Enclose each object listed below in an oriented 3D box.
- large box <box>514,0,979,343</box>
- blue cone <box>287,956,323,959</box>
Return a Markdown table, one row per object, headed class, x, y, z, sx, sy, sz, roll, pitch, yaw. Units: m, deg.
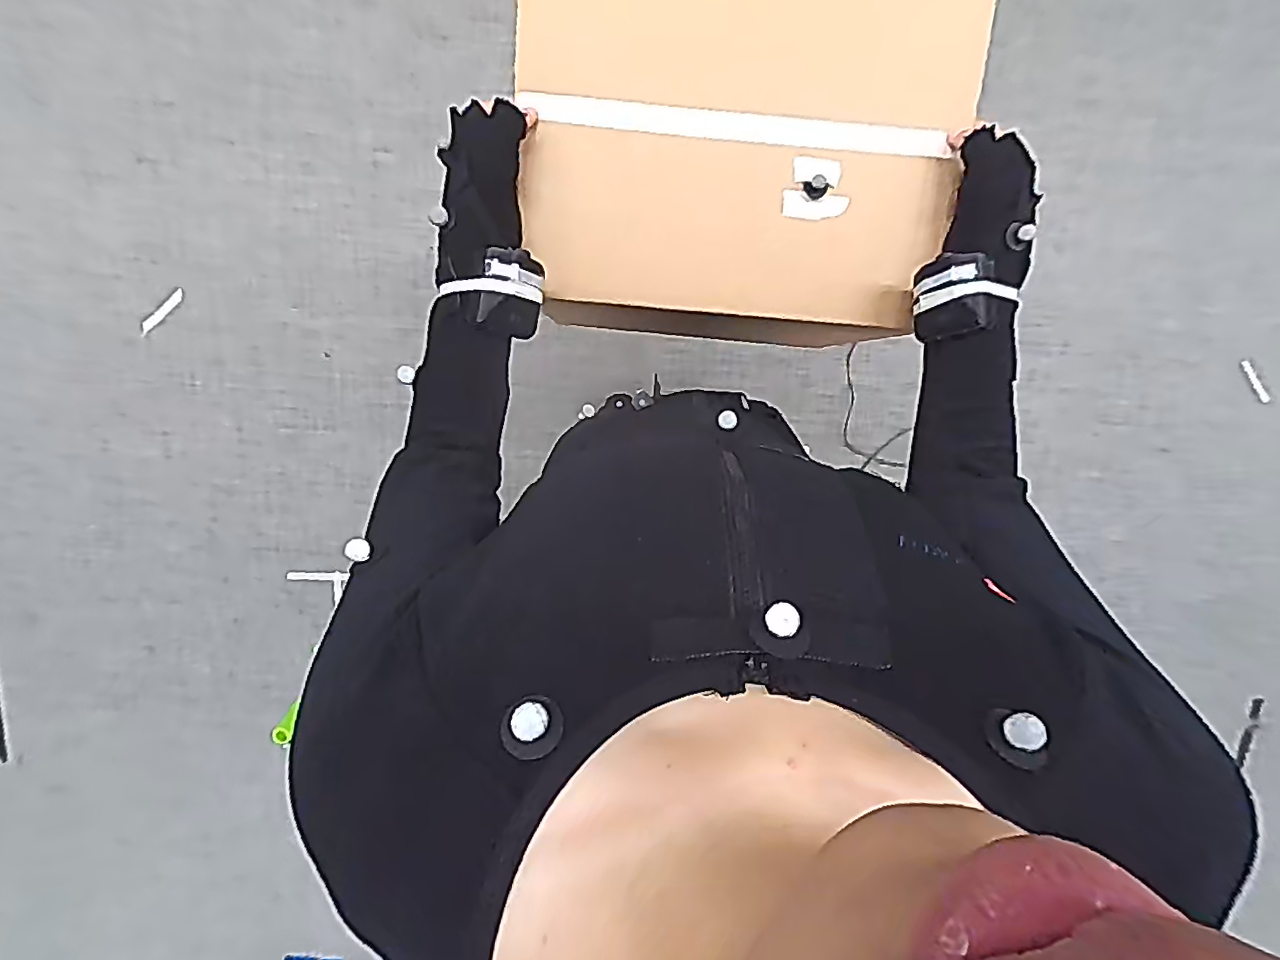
| class | x | y | z | sx | sy | sz | roll | pitch | yaw |
| --- | --- | --- | --- | --- | --- | --- | --- | --- | --- |
| large box | 0.083 | -0.339 | 0.627 | 0.408 | 0.320 | 0.320 | 4 | 101 | -3 |
| blue cone | -1.035 | 1.631 | 1.561 | 0.192 | 0.380 | 0.193 | 7 | 98 | -1 |
